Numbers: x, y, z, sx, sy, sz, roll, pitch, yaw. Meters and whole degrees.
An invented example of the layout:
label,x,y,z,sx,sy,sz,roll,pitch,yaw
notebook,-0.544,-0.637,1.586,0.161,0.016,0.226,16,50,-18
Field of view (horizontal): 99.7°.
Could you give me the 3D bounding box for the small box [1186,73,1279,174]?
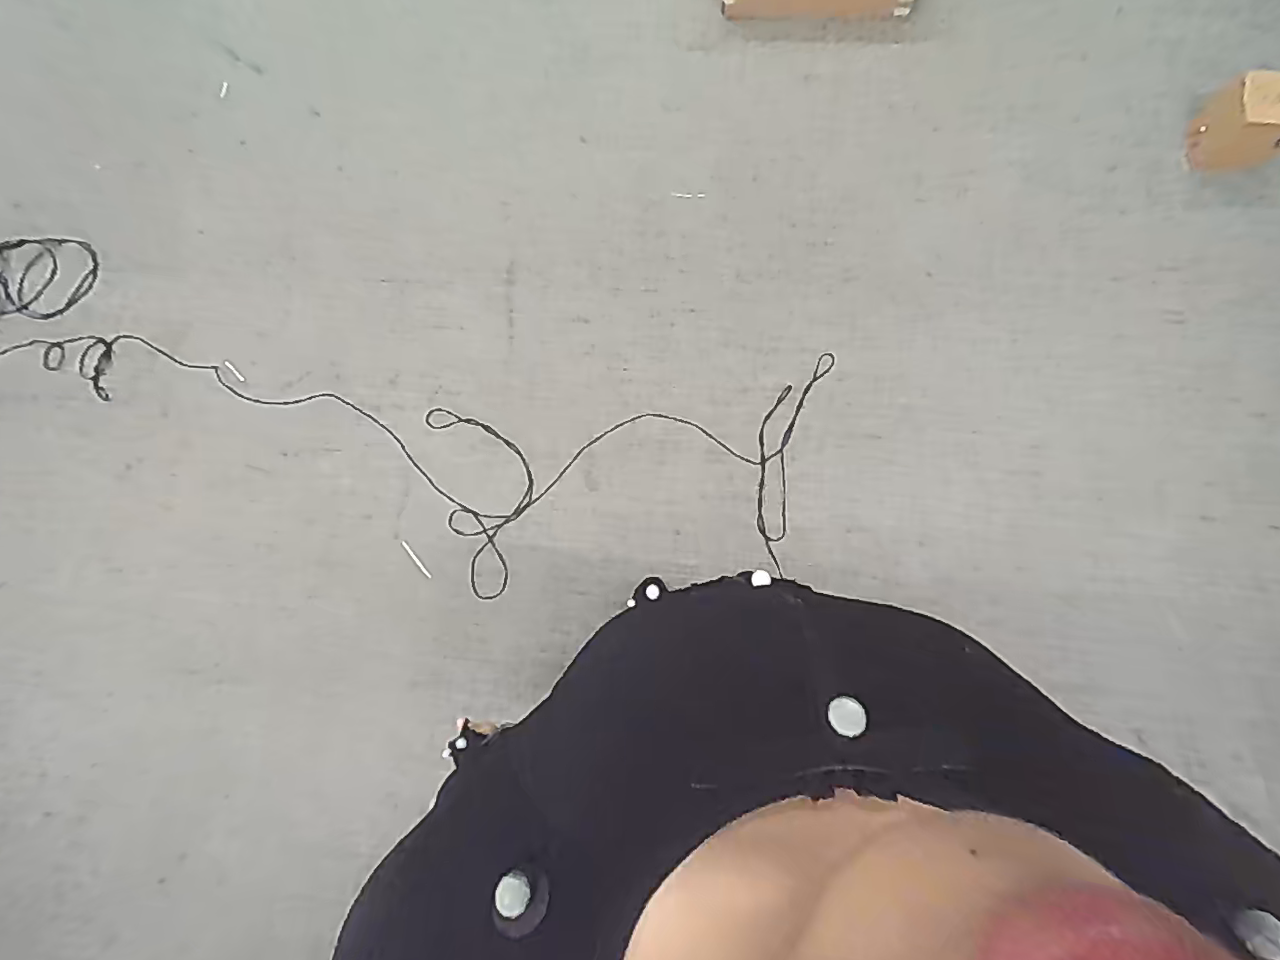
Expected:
label,x,y,z,sx,sy,sz,roll,pitch,yaw
small box,1.707,-0.993,1.519,0.179,0.176,0.168,9,80,6
